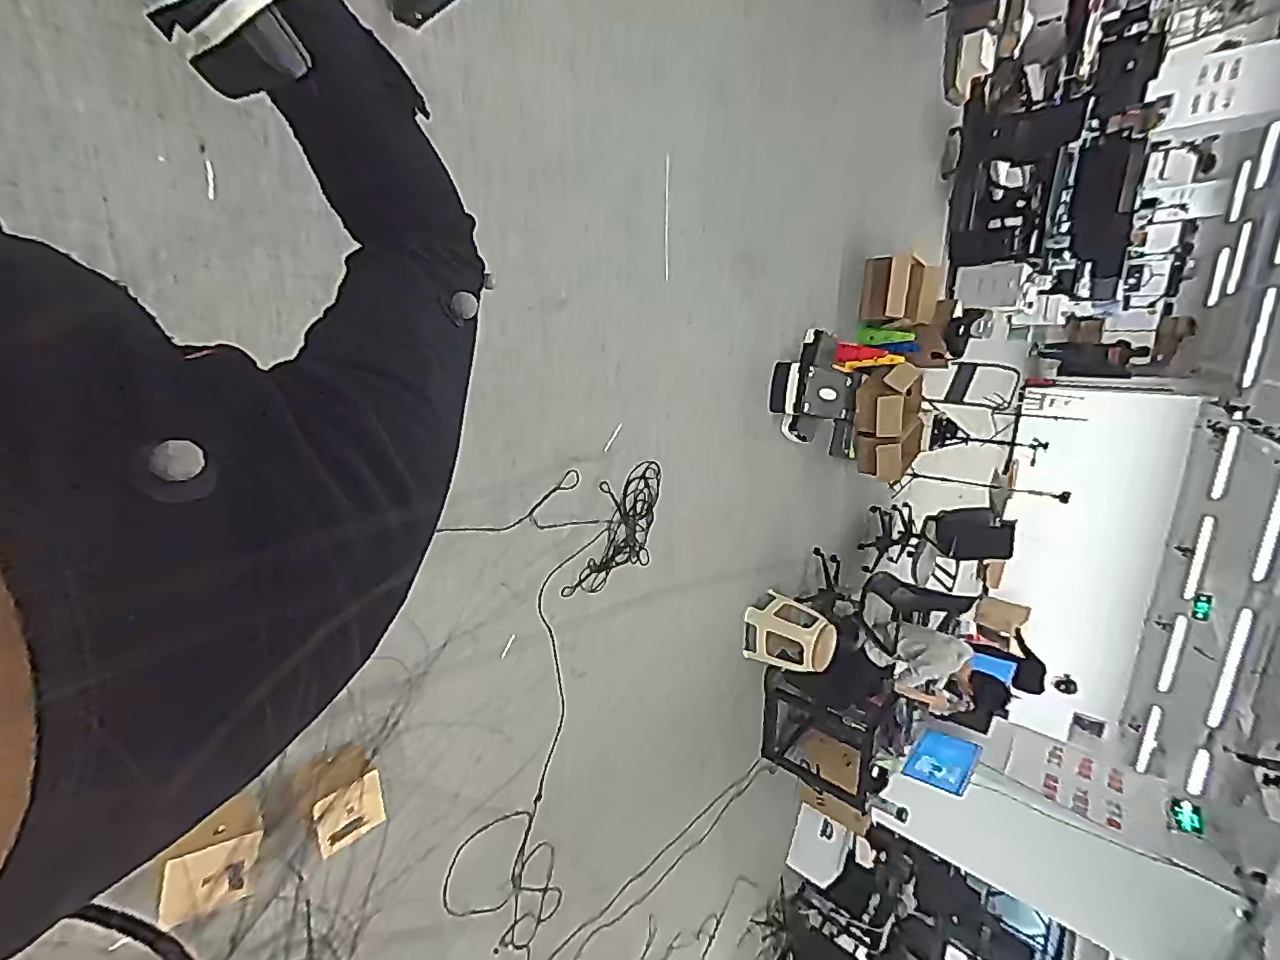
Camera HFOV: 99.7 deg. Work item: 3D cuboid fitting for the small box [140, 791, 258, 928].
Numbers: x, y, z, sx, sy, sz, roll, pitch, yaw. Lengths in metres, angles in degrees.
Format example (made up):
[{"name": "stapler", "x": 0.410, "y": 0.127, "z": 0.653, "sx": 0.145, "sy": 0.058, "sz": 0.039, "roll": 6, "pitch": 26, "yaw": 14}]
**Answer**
[{"name": "small box", "x": -1.026, "y": 0.865, "z": 1.257, "sx": 0.179, "sy": 0.176, "sz": 0.168, "roll": 7, "pitch": 94, "yaw": -49}]
